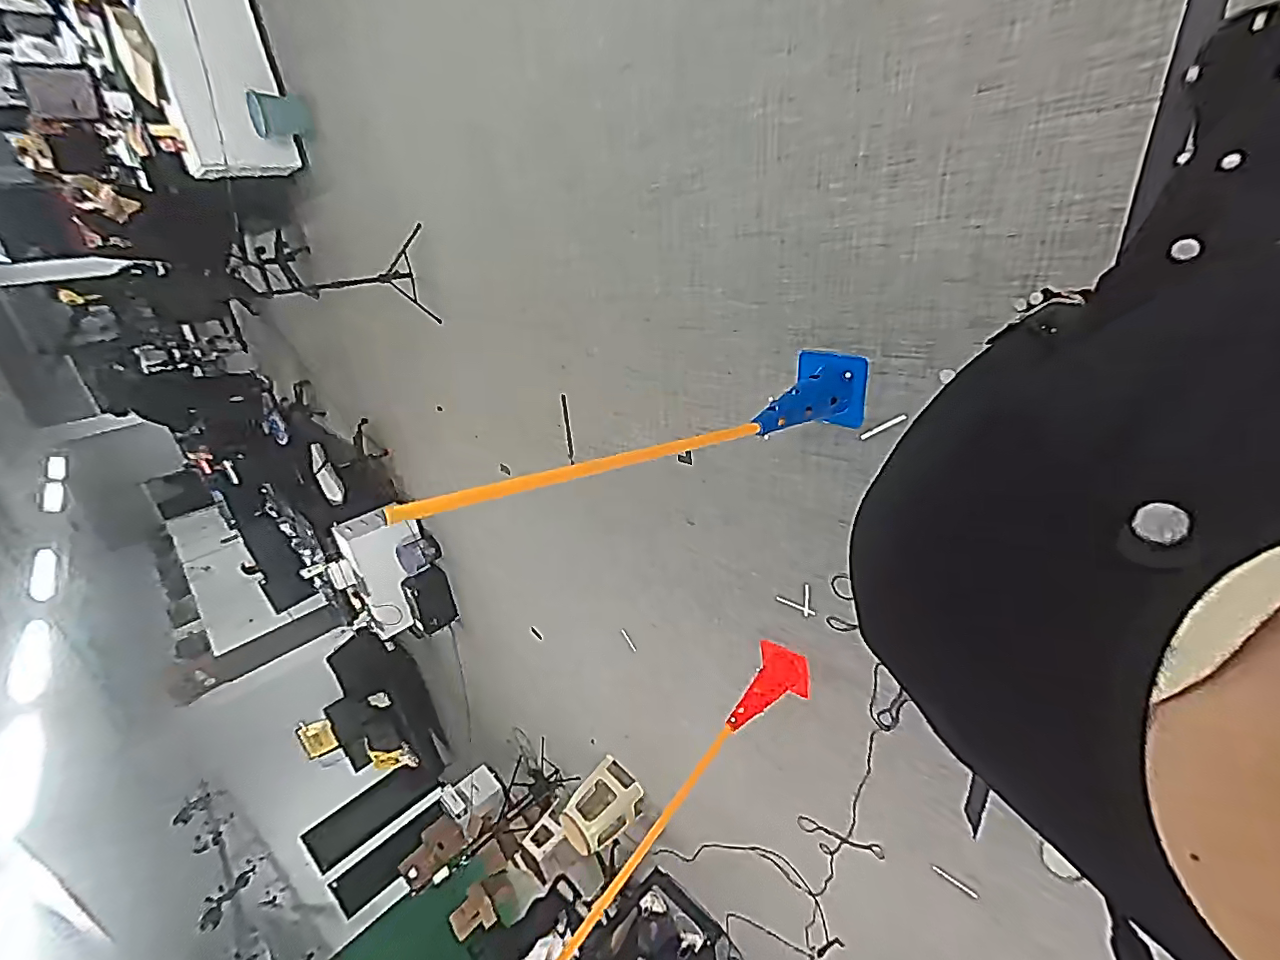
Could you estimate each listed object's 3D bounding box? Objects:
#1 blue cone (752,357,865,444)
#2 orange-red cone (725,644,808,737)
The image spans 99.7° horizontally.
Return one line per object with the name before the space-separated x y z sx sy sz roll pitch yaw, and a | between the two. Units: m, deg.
blue cone | 0.412 -0.179 1.398 0.193 0.380 0.192 23 128 41
orange-red cone | 0.427 0.790 1.941 0.199 0.360 0.198 13 121 44
